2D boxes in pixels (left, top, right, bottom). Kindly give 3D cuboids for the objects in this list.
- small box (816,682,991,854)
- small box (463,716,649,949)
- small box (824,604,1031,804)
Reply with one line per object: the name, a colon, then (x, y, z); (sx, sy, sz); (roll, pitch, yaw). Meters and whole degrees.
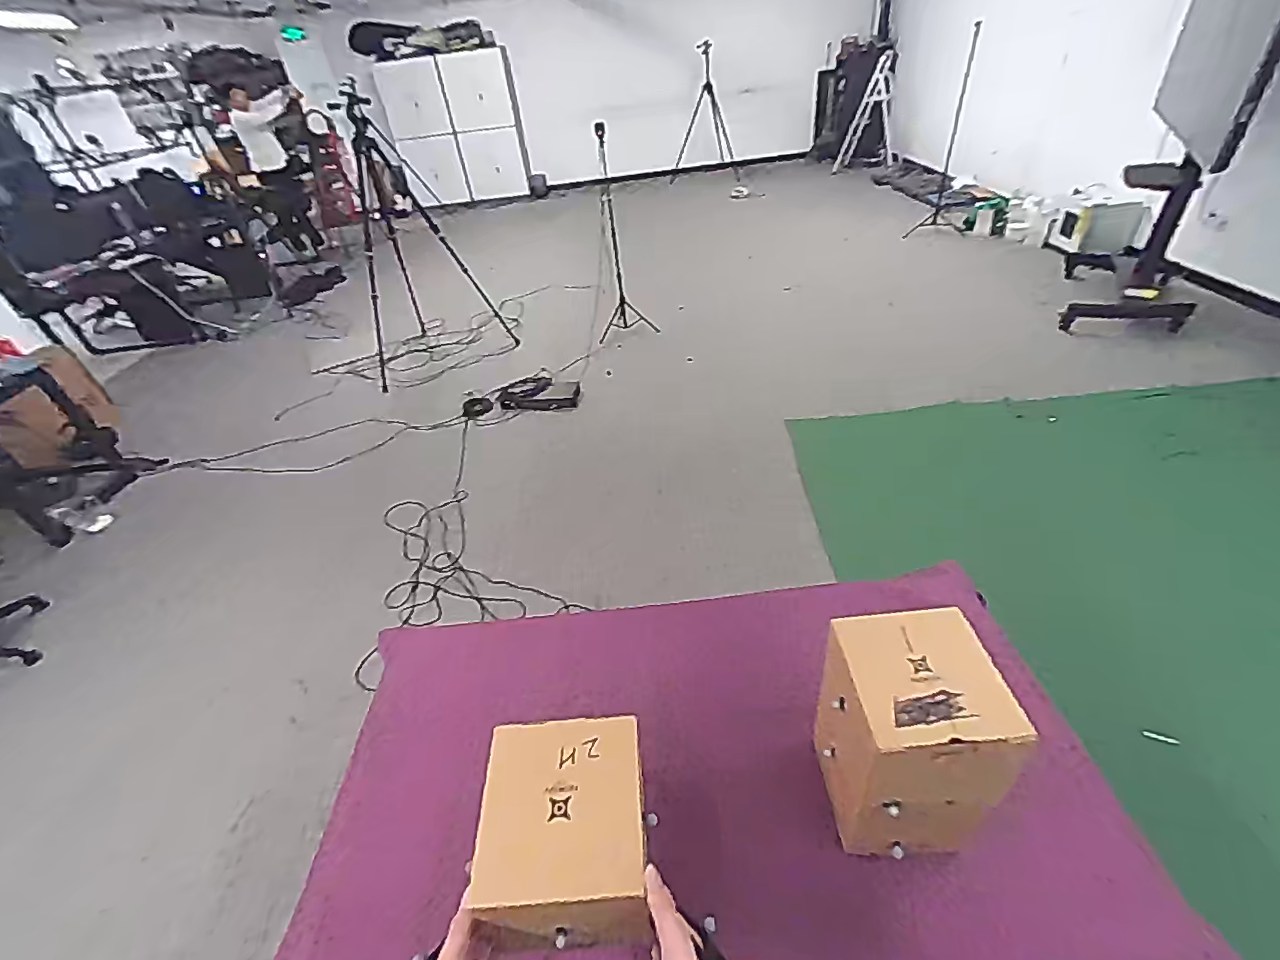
small box: (0.359, 0.409, 0.782); (0.168, 0.176, 0.179); (-6, 38, 5)
small box: (-0.078, 0.392, 0.600); (0.168, 0.176, 0.179); (-4, 37, 0)
small box: (0.338, 0.284, 0.679); (0.168, 0.176, 0.179); (-7, 37, 4)
